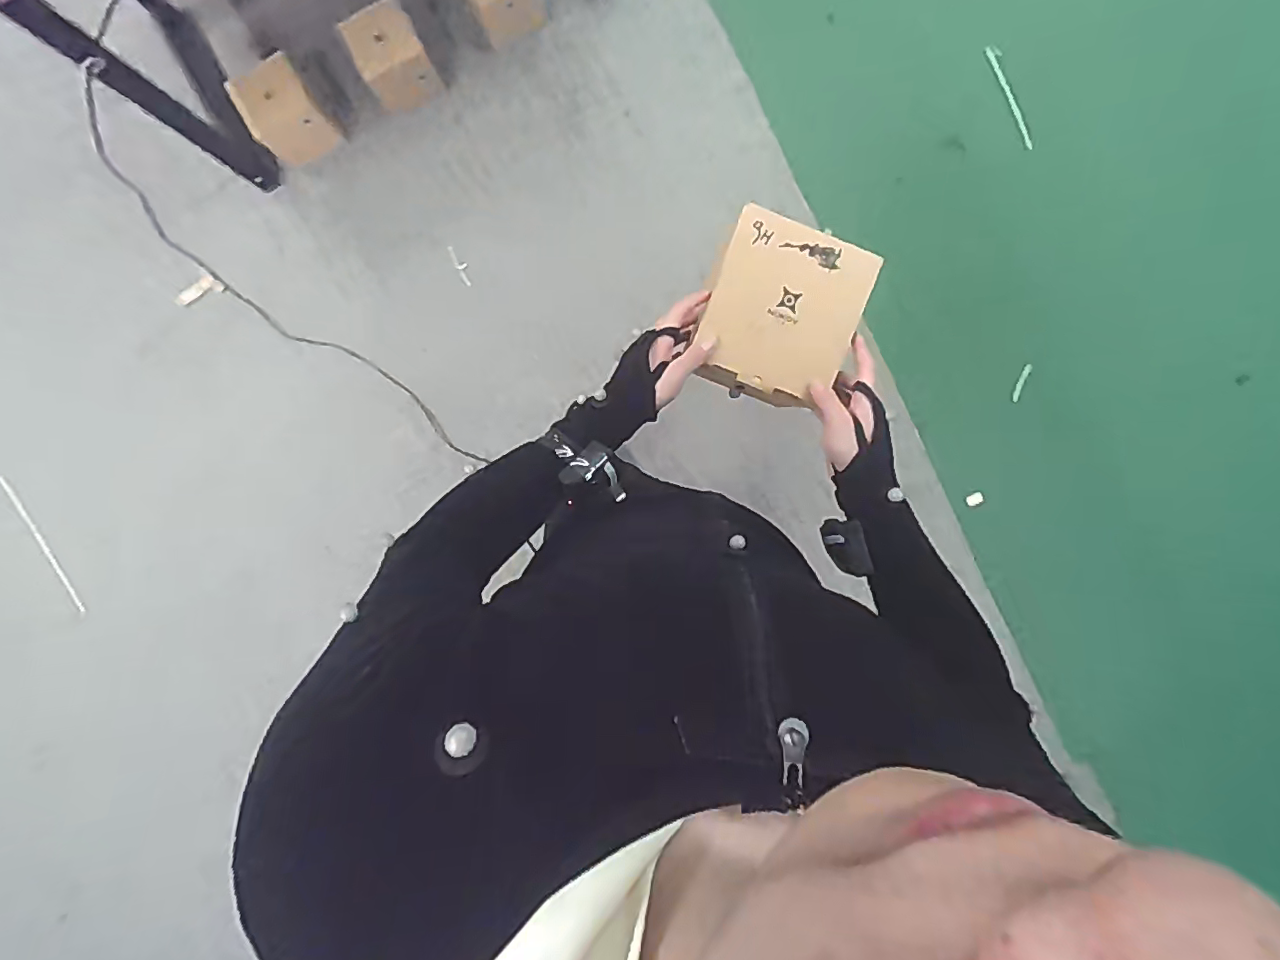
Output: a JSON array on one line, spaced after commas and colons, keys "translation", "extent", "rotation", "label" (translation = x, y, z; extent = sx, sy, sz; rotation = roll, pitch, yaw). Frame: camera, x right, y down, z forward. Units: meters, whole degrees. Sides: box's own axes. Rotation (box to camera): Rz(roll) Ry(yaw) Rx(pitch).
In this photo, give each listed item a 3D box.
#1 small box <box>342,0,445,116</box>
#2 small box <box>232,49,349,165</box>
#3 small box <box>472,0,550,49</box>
[{"translation": [-0.658, -1.152, 1.475], "extent": [0.179, 0.176, 0.168], "rotation": [-27, 92, 3], "label": "small box"}, {"translation": [-0.952, -1.012, 1.486], "extent": [0.179, 0.176, 0.168], "rotation": [-28, 93, 2], "label": "small box"}, {"translation": [-0.366, -1.329, 1.459], "extent": [0.179, 0.176, 0.168], "rotation": [-31, 93, 2], "label": "small box"}]
